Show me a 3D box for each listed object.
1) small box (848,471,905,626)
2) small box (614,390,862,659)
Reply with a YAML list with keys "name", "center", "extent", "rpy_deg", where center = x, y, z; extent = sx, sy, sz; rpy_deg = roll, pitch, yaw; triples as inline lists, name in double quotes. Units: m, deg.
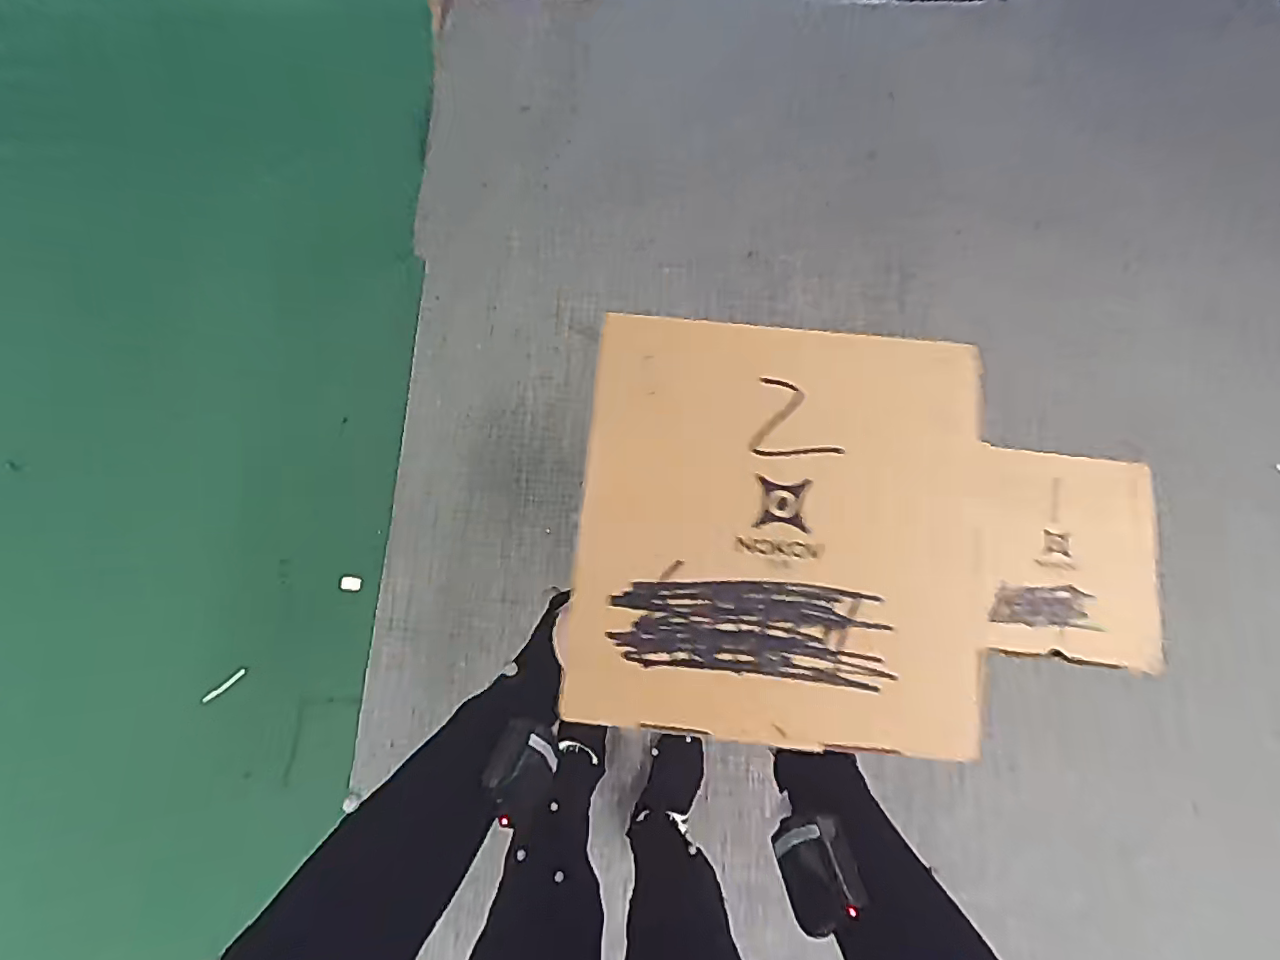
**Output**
- name: "small box"
  center: [0.360, 0.099, 0.687]
  extent: [0.168, 0.176, 0.179]
  rpy_deg: [8, 81, 3]
- name: "small box"
  center: [0.072, 0.041, 0.466]
  extent: [0.168, 0.176, 0.179]
  rpy_deg: [8, 81, 1]
